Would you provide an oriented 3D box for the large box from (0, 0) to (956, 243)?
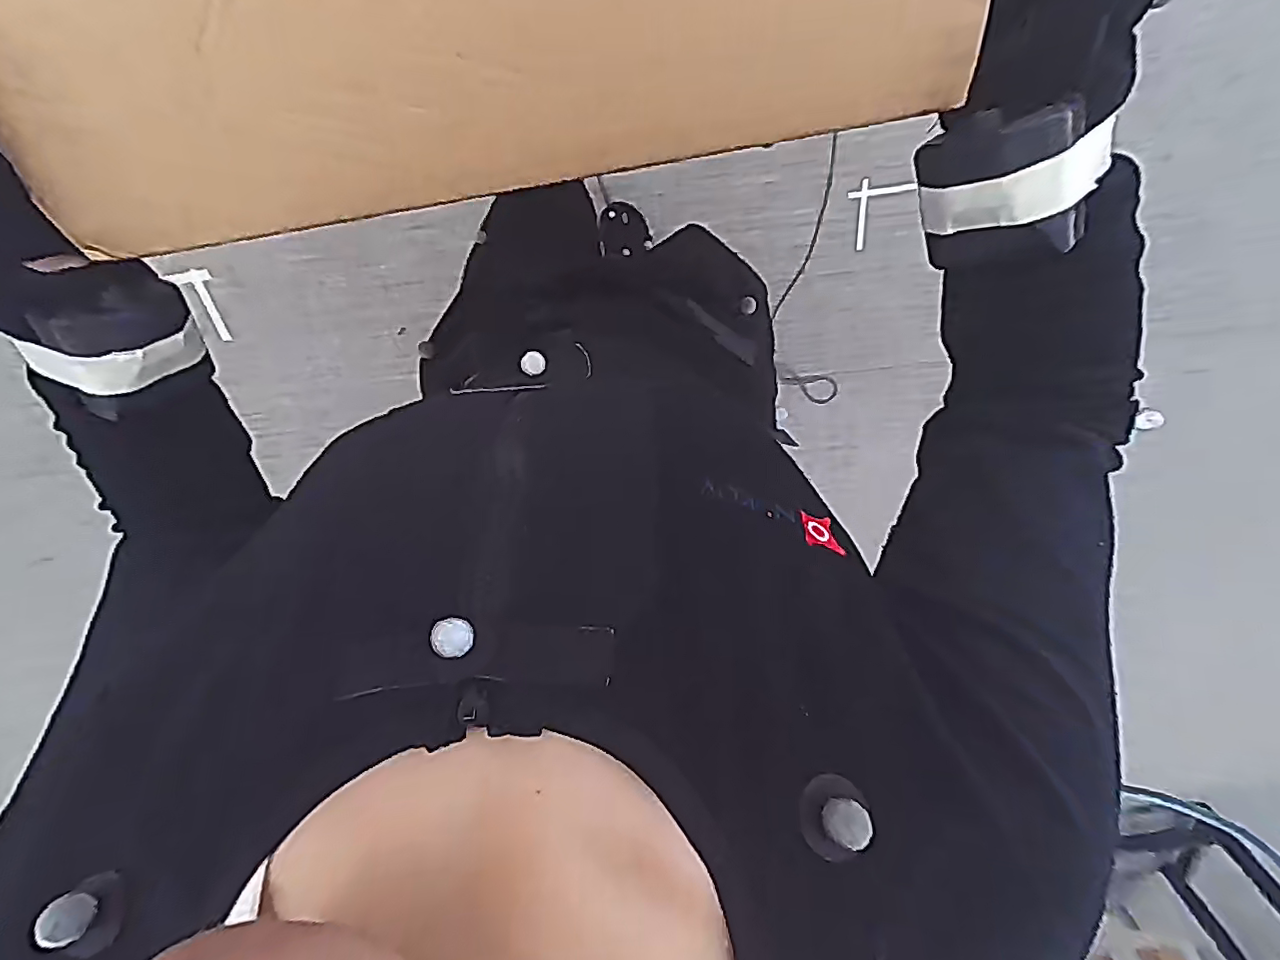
[{"bbox_3d":[-0.093,-0.355,0.244,0.408,0.320,0.320,-8,135,4],"label":"large box"}]
